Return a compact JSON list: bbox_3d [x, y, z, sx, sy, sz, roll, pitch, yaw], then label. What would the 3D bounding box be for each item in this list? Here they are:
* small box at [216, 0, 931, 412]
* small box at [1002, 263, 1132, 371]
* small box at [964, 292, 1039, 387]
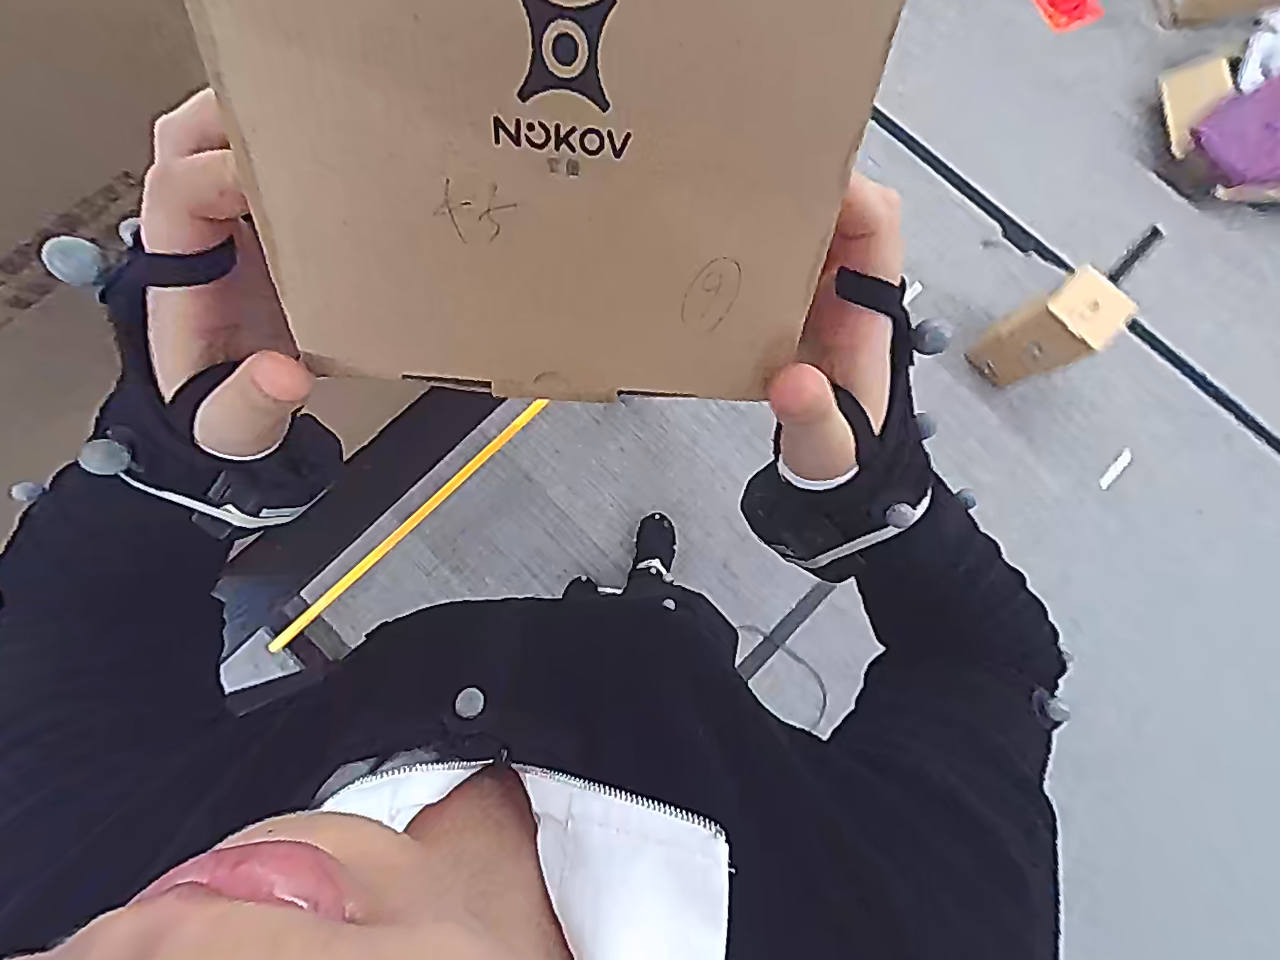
[{"bbox_3d":[-0.021,-0.148,0.200,0.168,0.179,0.176,3,40,-9],"label":"small box"},{"bbox_3d":[1.110,-0.421,1.421,0.179,0.176,0.168,-44,84,-8],"label":"small box"},{"bbox_3d":[1.104,-0.406,1.585,0.168,0.176,0.179,44,83,6],"label":"small box"}]
